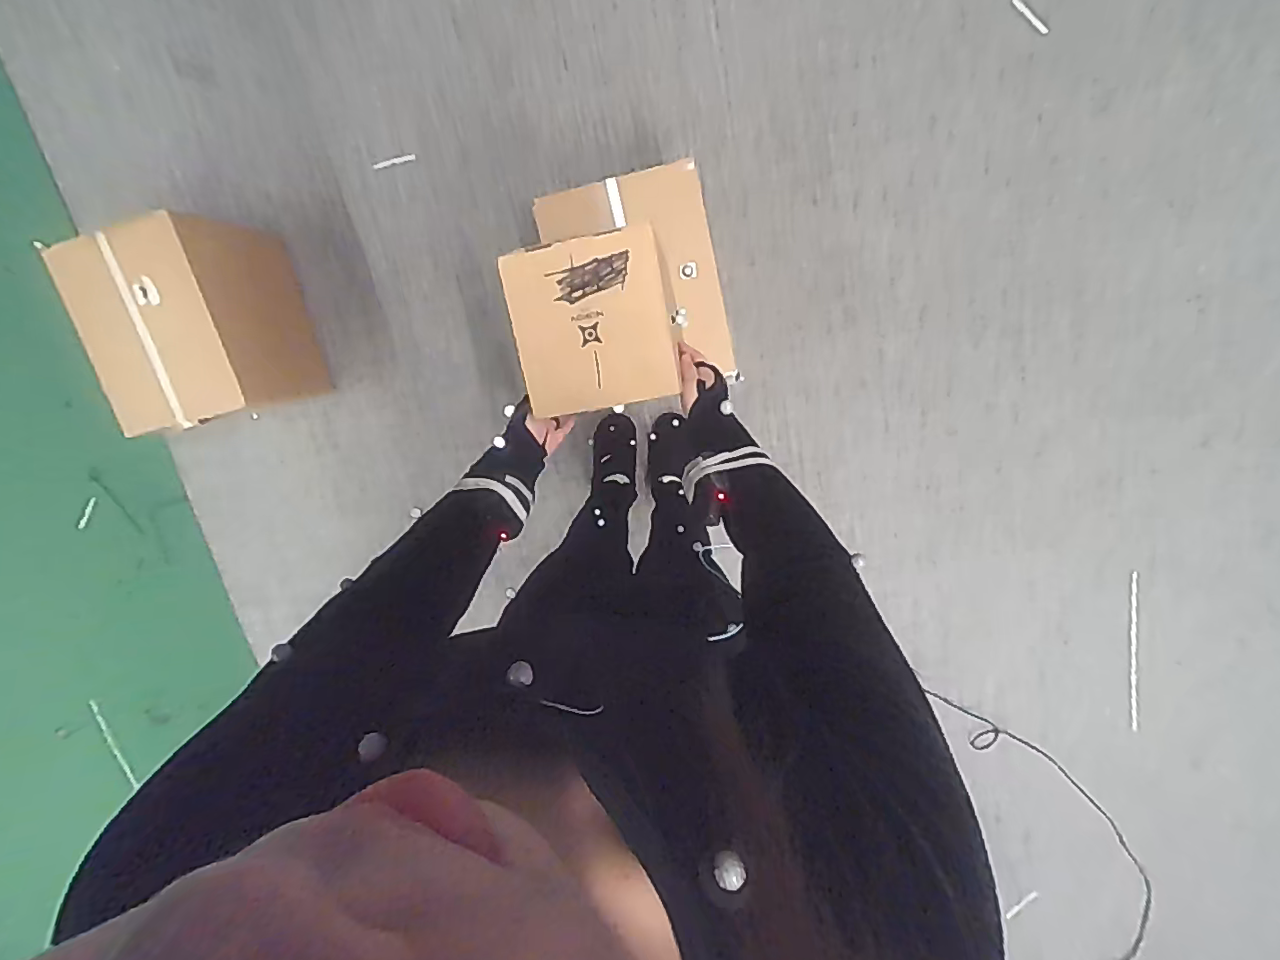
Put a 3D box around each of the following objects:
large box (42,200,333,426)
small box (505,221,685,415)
[{"bbox_3d":[-1.014,-0.371,1.268,0.320,0.320,0.408,-11,104,8],"label":"large box"},{"bbox_3d":[-0.040,-0.185,0.644,0.168,0.176,0.179,-8,104,9],"label":"small box"}]
